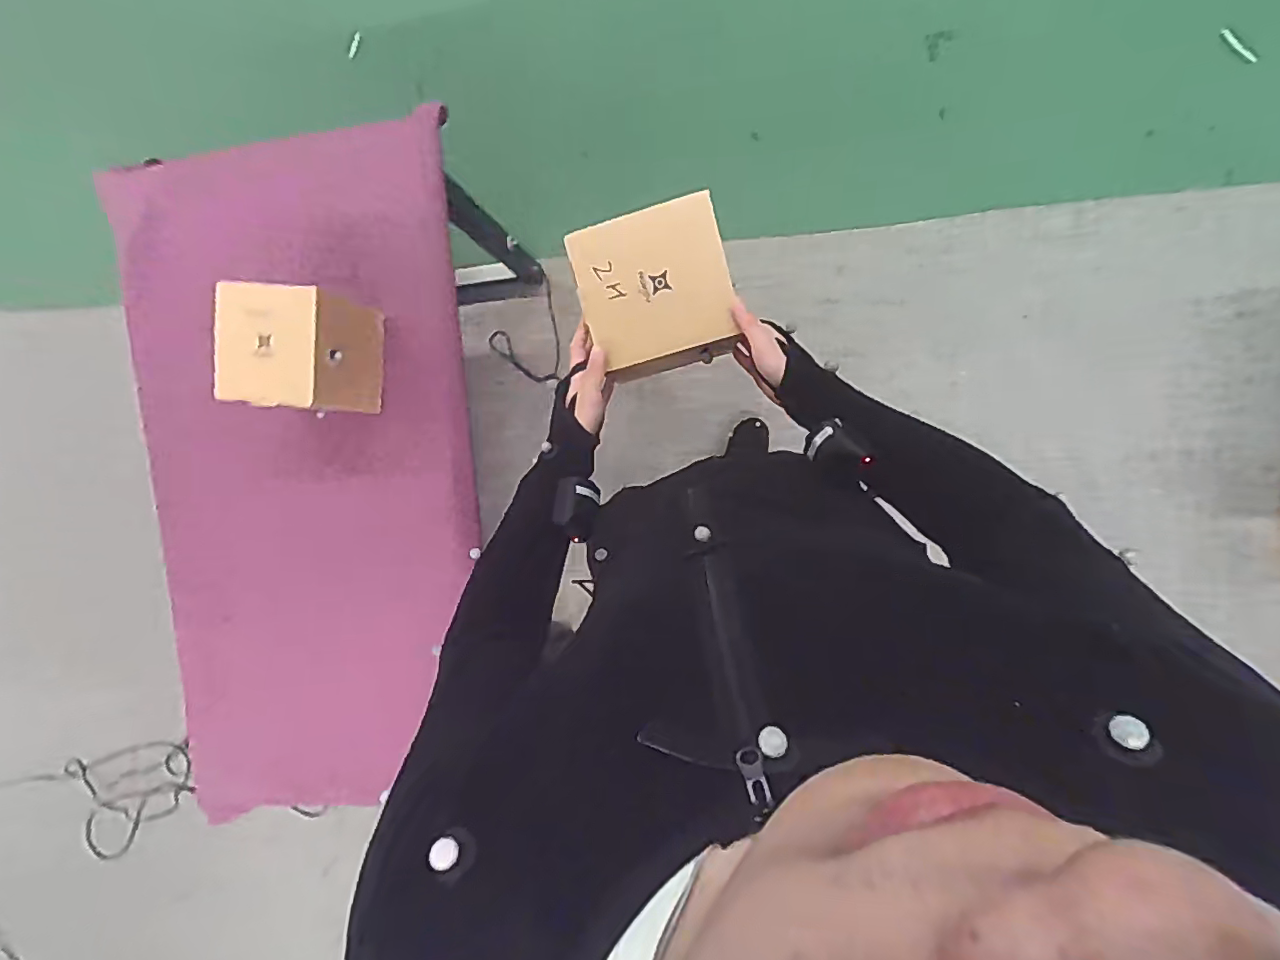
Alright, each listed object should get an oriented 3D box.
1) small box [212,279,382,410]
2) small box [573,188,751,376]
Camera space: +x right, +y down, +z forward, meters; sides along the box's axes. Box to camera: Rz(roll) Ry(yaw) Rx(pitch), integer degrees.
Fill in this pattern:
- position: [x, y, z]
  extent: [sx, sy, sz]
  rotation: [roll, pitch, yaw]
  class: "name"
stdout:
- position: [-0.540, -0.207, 0.868]
  extent: [0.168, 0.176, 0.179]
  rotation: [7, 96, 7]
  class: "small box"
- position: [0.031, -0.237, 0.693]
  extent: [0.179, 0.176, 0.168]
  rotation: [-14, 95, 7]
  class: "small box"
